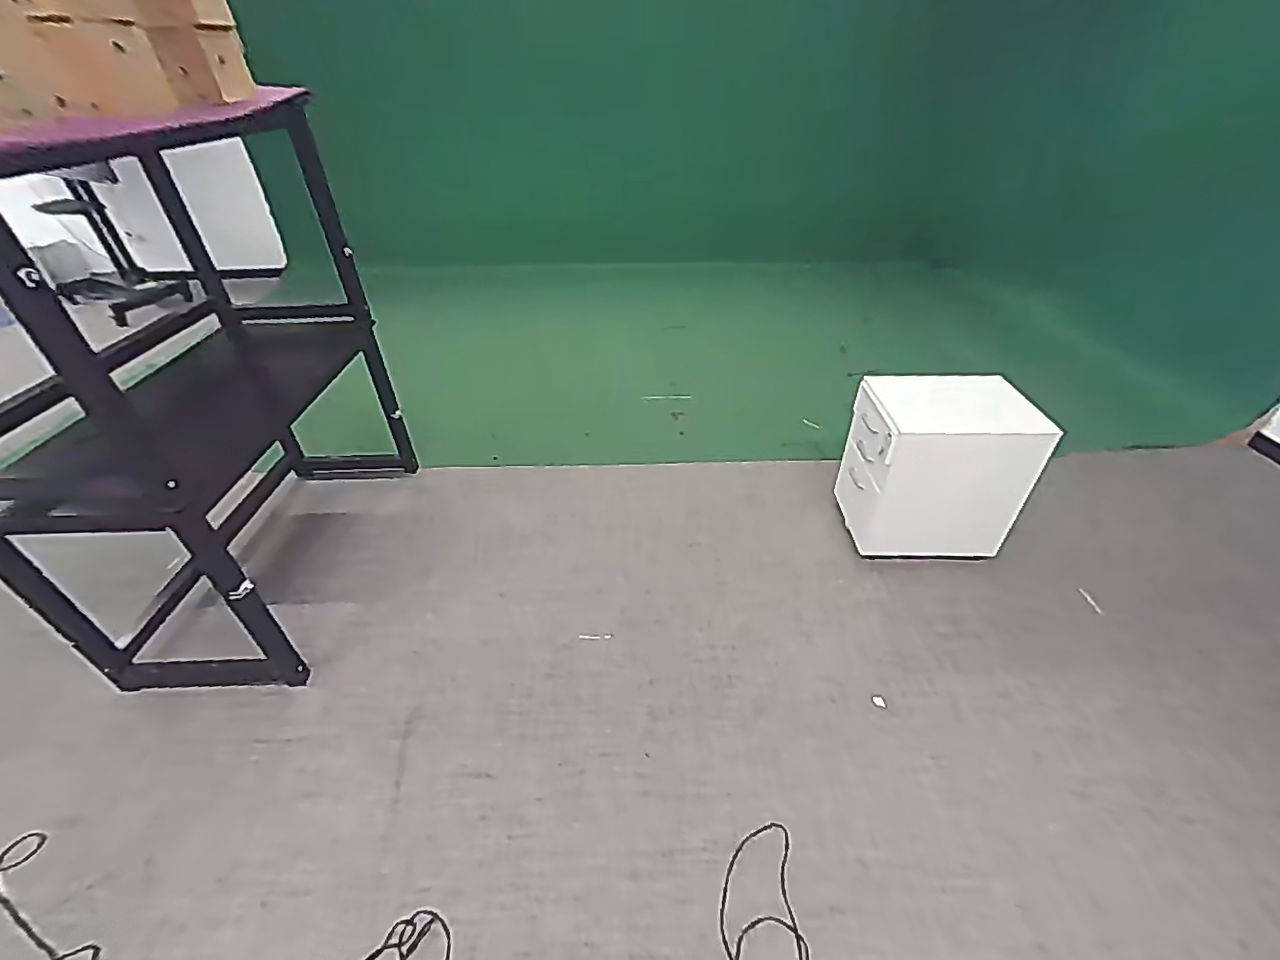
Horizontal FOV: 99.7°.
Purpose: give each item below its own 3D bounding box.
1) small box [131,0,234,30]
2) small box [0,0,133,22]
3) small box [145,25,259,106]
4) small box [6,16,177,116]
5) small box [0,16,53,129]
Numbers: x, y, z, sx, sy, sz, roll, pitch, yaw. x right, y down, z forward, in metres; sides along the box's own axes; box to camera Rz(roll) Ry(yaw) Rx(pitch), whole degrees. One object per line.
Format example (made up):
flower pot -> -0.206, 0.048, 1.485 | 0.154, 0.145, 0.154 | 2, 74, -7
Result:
small box -> -1.207, -1.274, 1.398 | 0.168, 0.176, 0.179 | -3, 39, 2
small box -> -1.198, -1.039, 1.098 | 0.168, 0.176, 0.179 | 5, 39, 9
small box -> -1.211, -1.146, 1.500 | 0.168, 0.176, 0.179 | -2, 39, 2
small box -> -1.196, -0.913, 1.201 | 0.168, 0.176, 0.179 | 0, 37, 1
small box -> -1.151, -0.674, 0.886 | 0.179, 0.176, 0.168 | -8, 37, -10
